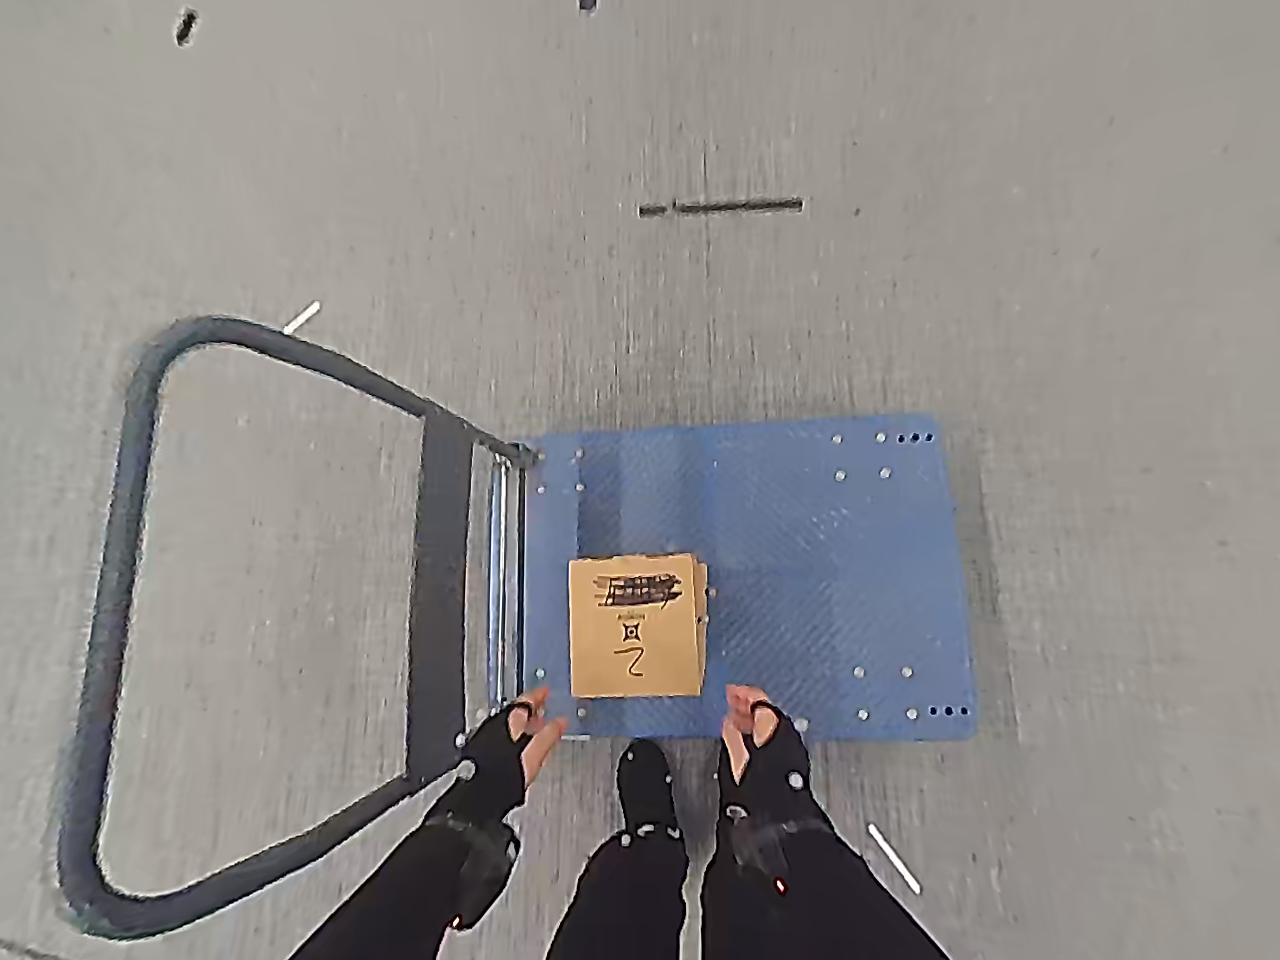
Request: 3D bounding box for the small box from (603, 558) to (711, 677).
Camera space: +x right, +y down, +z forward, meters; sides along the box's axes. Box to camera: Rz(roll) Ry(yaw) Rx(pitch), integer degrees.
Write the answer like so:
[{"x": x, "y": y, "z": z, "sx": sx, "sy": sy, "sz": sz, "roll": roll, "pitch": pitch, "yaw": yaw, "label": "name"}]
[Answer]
[{"x": 0.036, "y": 0.230, "z": 0.930, "sx": 0.168, "sy": 0.176, "sz": 0.179, "roll": 1, "pitch": 80, "yaw": 8, "label": "small box"}]
